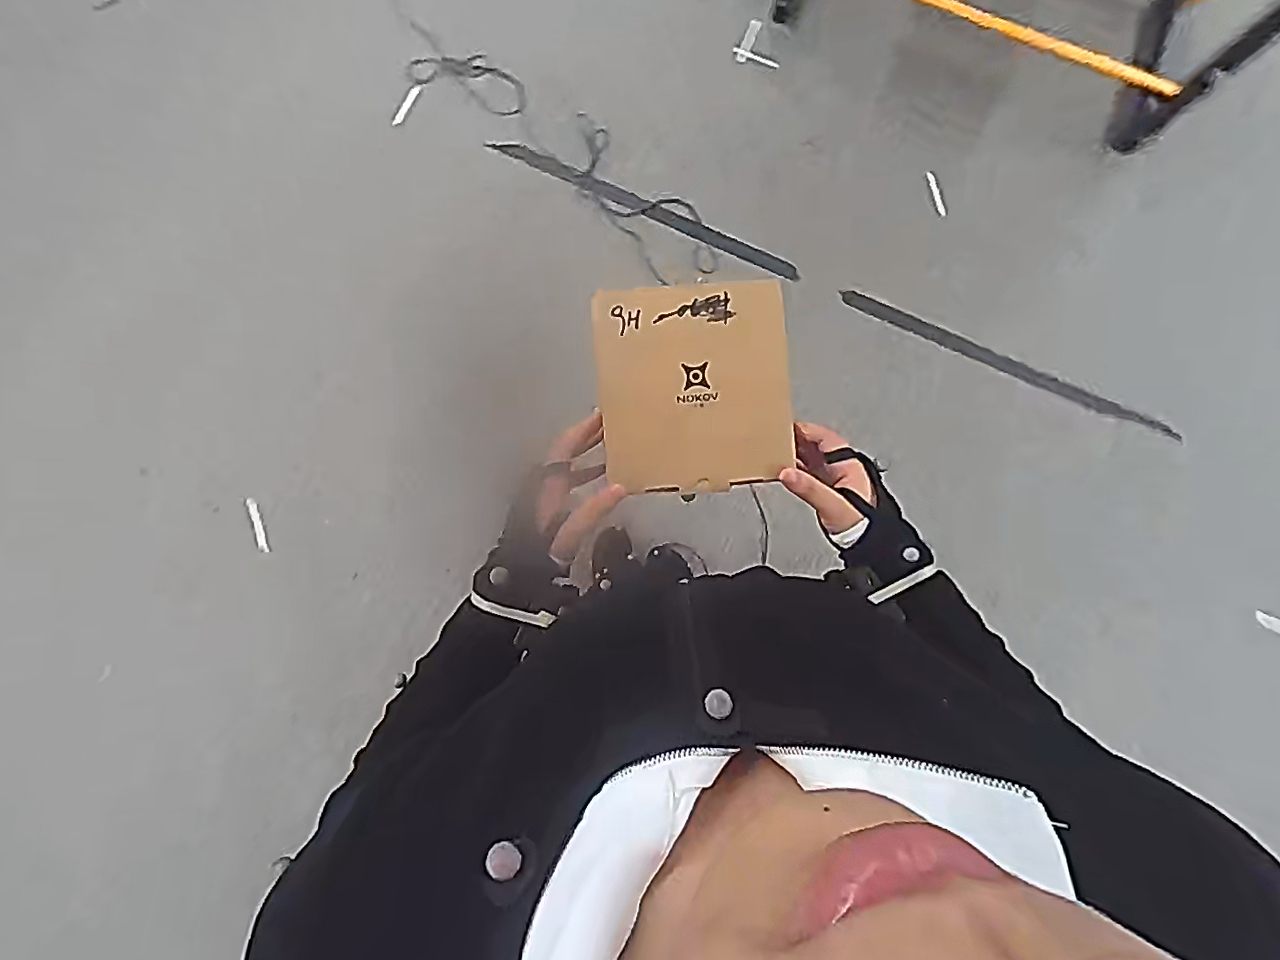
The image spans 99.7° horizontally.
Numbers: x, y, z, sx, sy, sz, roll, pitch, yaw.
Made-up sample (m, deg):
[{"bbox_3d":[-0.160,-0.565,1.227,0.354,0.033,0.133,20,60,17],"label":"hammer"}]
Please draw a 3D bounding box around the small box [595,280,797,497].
[{"bbox_3d":[0.045,-0.082,0.537,0.168,0.176,0.179,-4,93,-4],"label":"small box"}]
